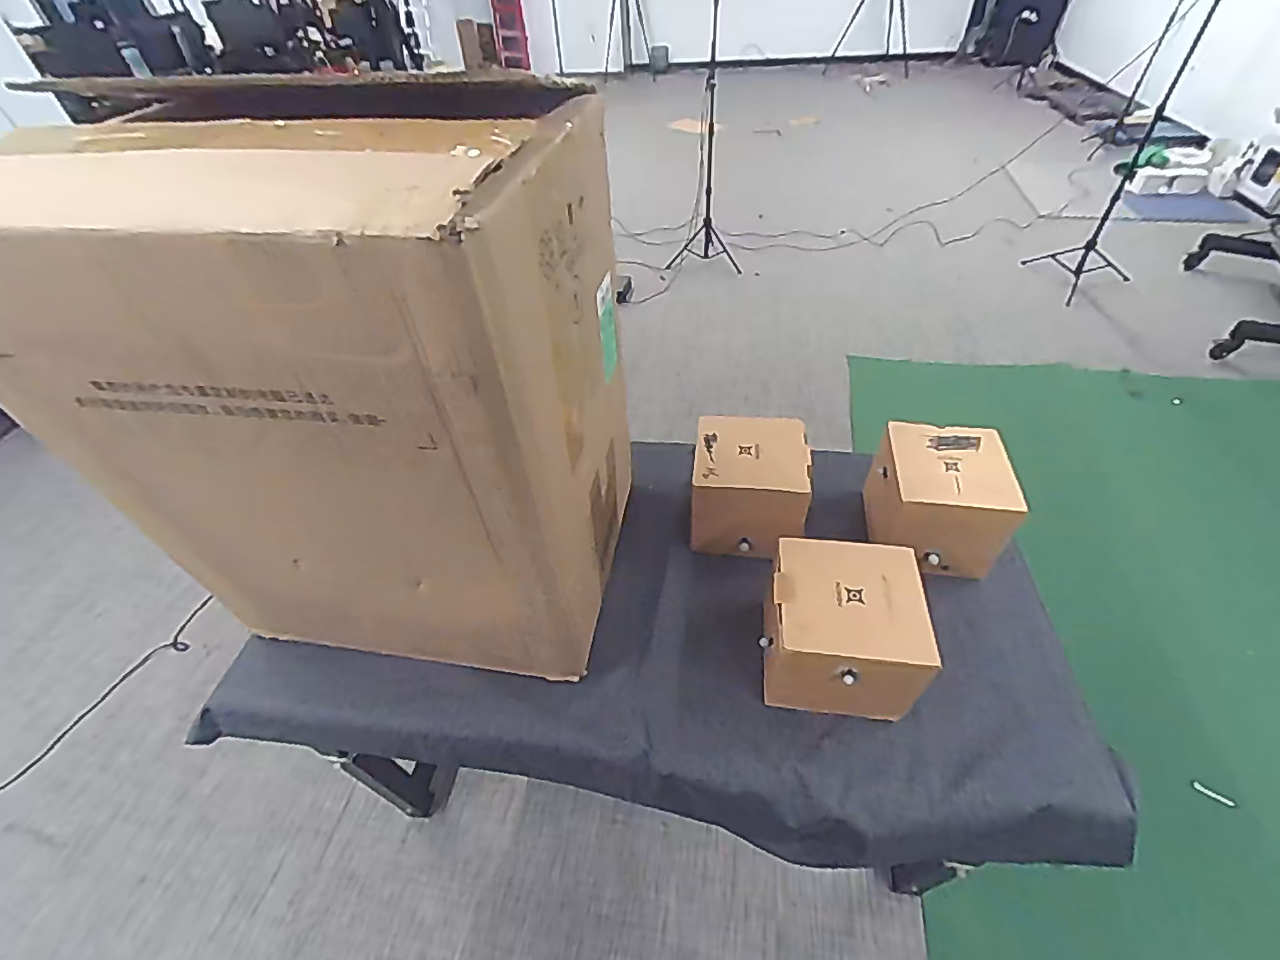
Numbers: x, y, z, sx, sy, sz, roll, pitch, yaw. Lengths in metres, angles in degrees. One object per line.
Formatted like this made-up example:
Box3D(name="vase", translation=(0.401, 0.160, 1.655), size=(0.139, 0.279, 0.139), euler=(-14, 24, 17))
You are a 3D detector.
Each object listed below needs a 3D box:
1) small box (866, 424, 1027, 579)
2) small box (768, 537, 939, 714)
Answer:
Box3D(name="small box", translation=(0.475, 0.034, 0.873), size=(0.168, 0.176, 0.179), euler=(5, 47, 10))
Box3D(name="small box", translation=(0.269, 0.197, 0.730), size=(0.179, 0.176, 0.168), euler=(5, 47, 8))
